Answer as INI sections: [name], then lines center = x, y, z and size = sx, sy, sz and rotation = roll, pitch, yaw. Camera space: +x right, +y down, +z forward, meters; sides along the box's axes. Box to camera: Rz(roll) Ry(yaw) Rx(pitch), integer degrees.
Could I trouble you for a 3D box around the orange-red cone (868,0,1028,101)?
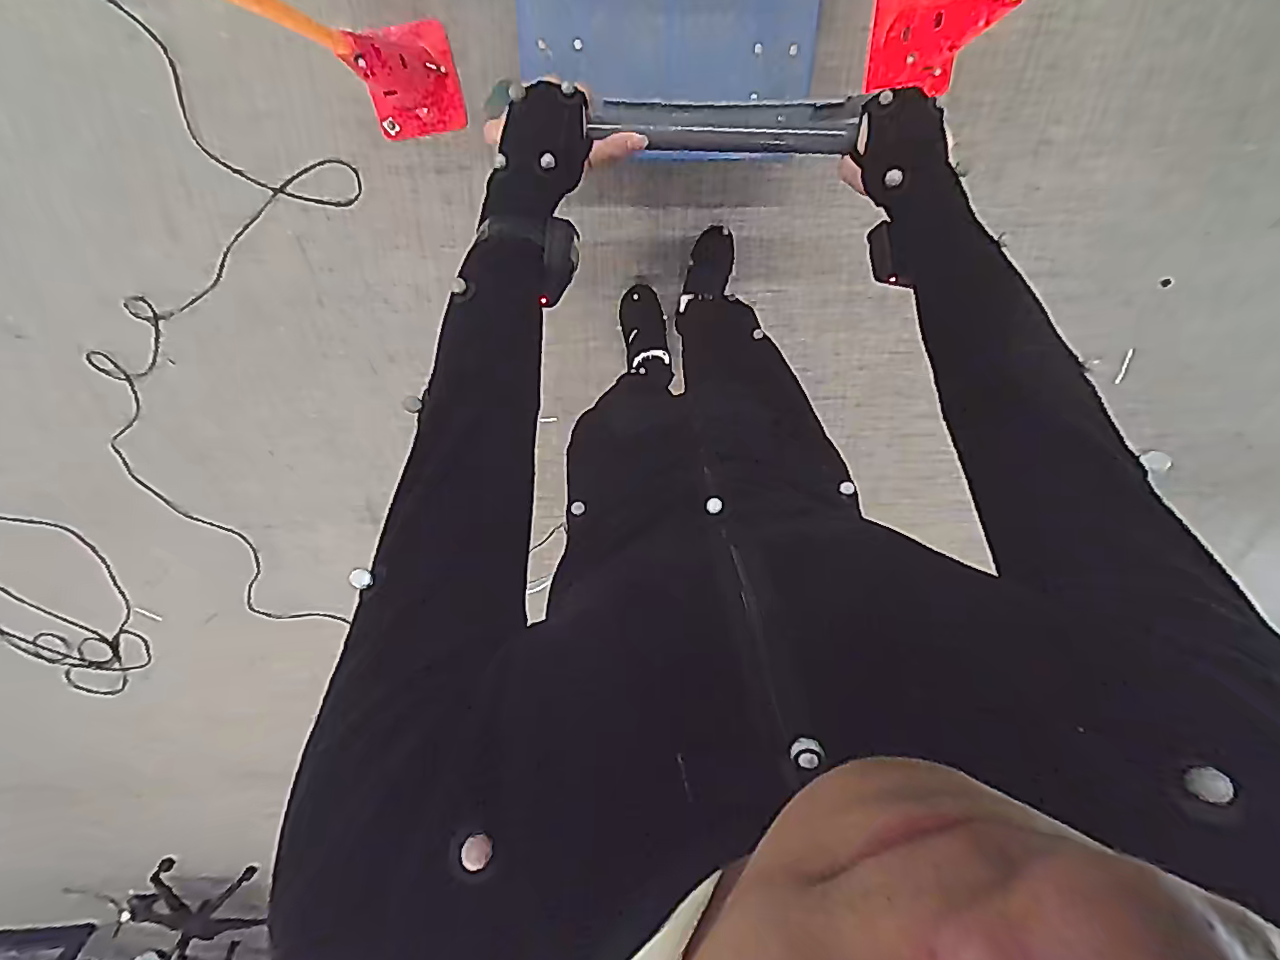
[orange-red cone]
center = 0.616, -0.878, 1.035
size = 0.198, 0.360, 0.199
rotation = -2, 116, -2
